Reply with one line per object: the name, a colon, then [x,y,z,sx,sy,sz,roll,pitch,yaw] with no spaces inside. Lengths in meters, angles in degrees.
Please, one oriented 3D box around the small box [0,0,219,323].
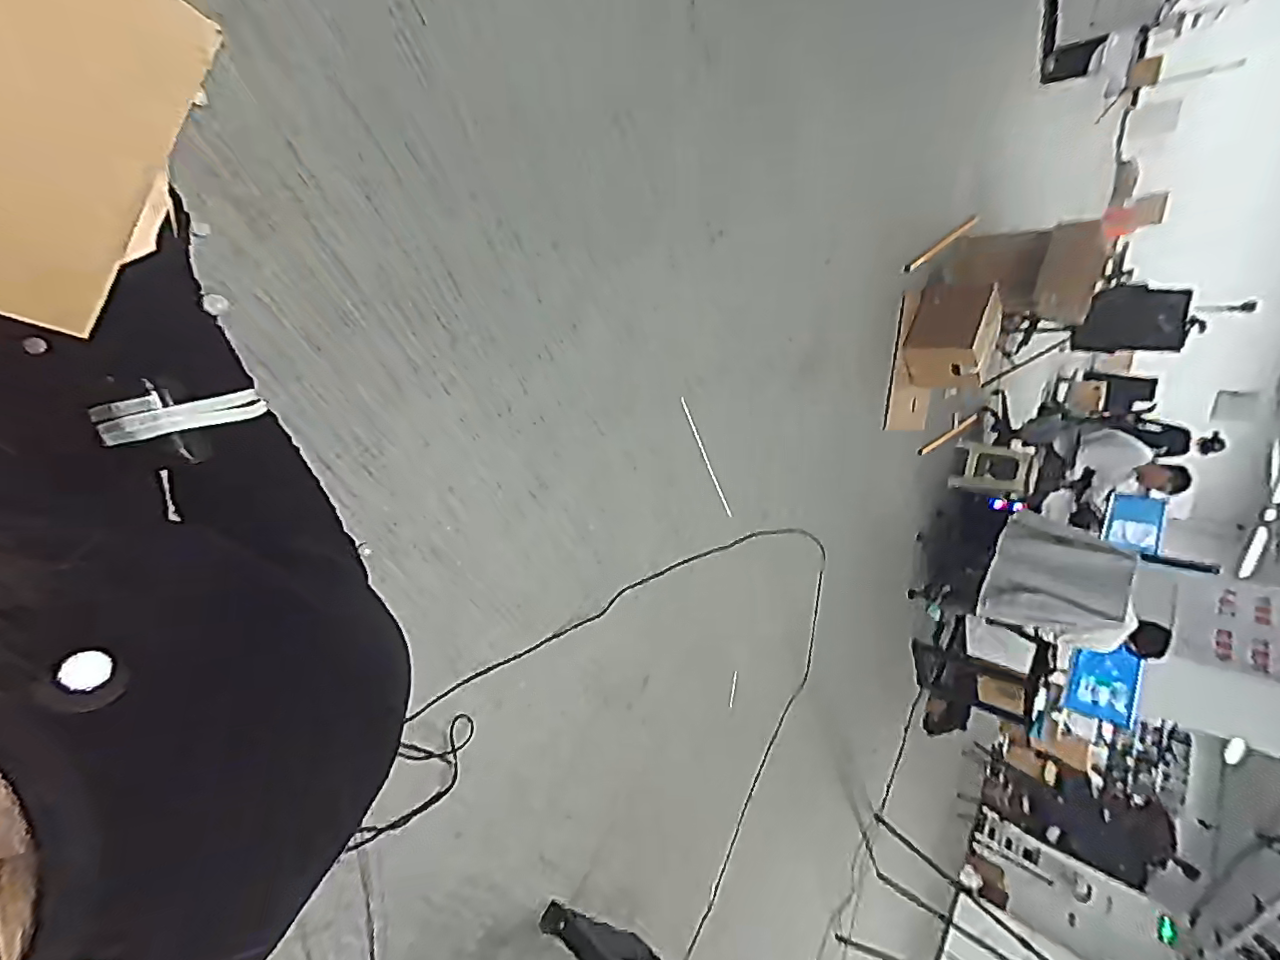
small box: [-0.329,-0.213,0.240,0.179,0.176,0.168,-49,147,16]
